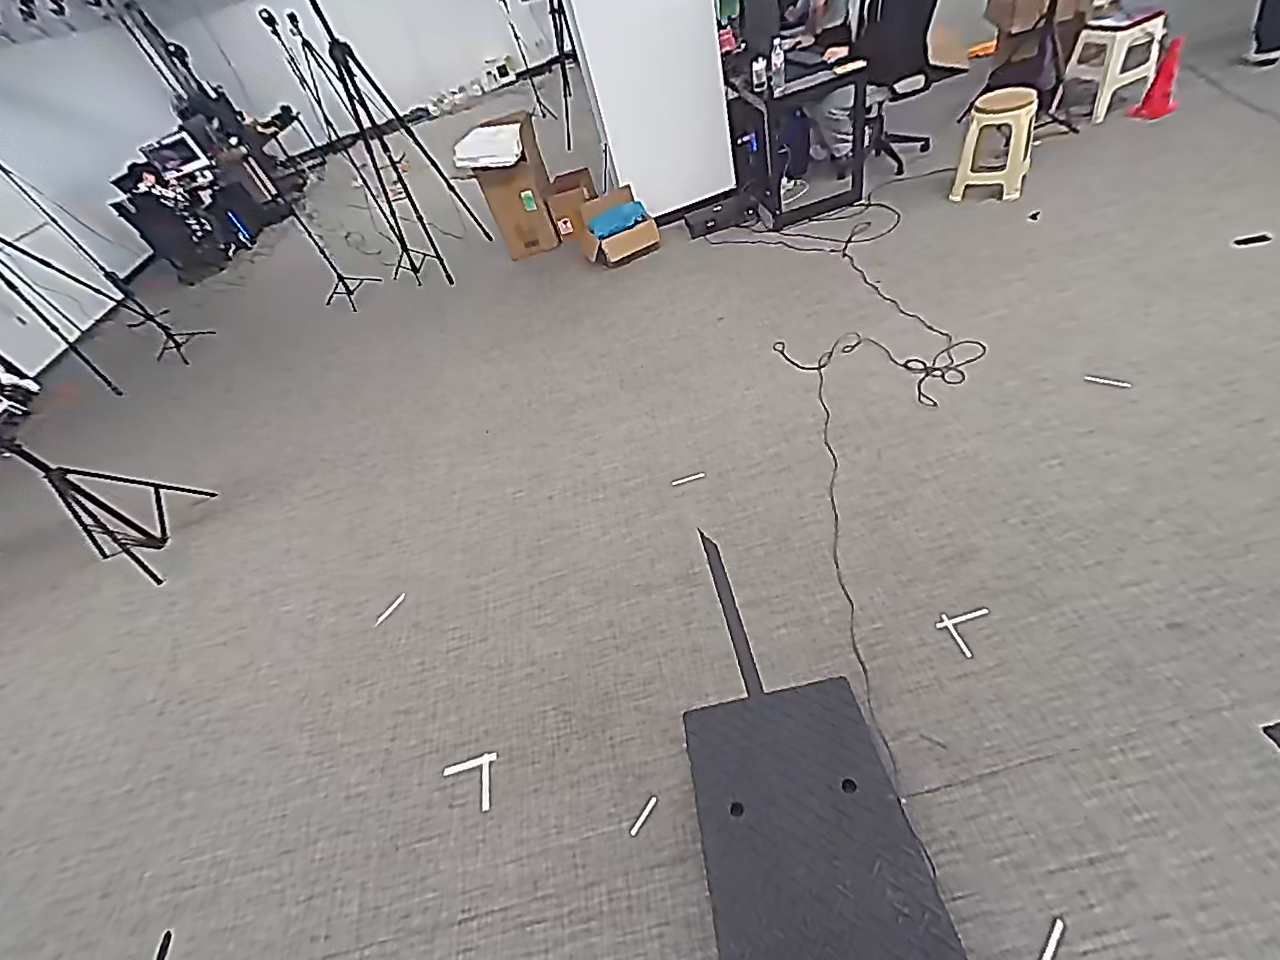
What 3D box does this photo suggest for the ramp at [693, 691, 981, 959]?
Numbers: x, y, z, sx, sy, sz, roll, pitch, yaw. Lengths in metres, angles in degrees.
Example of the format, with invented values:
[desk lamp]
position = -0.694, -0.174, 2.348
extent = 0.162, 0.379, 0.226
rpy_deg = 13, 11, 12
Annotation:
[ramp]
position = 0.426, 0.952, 1.170
extent = 0.509, 0.206, 0.991
rpy_deg = -19, 43, 5
